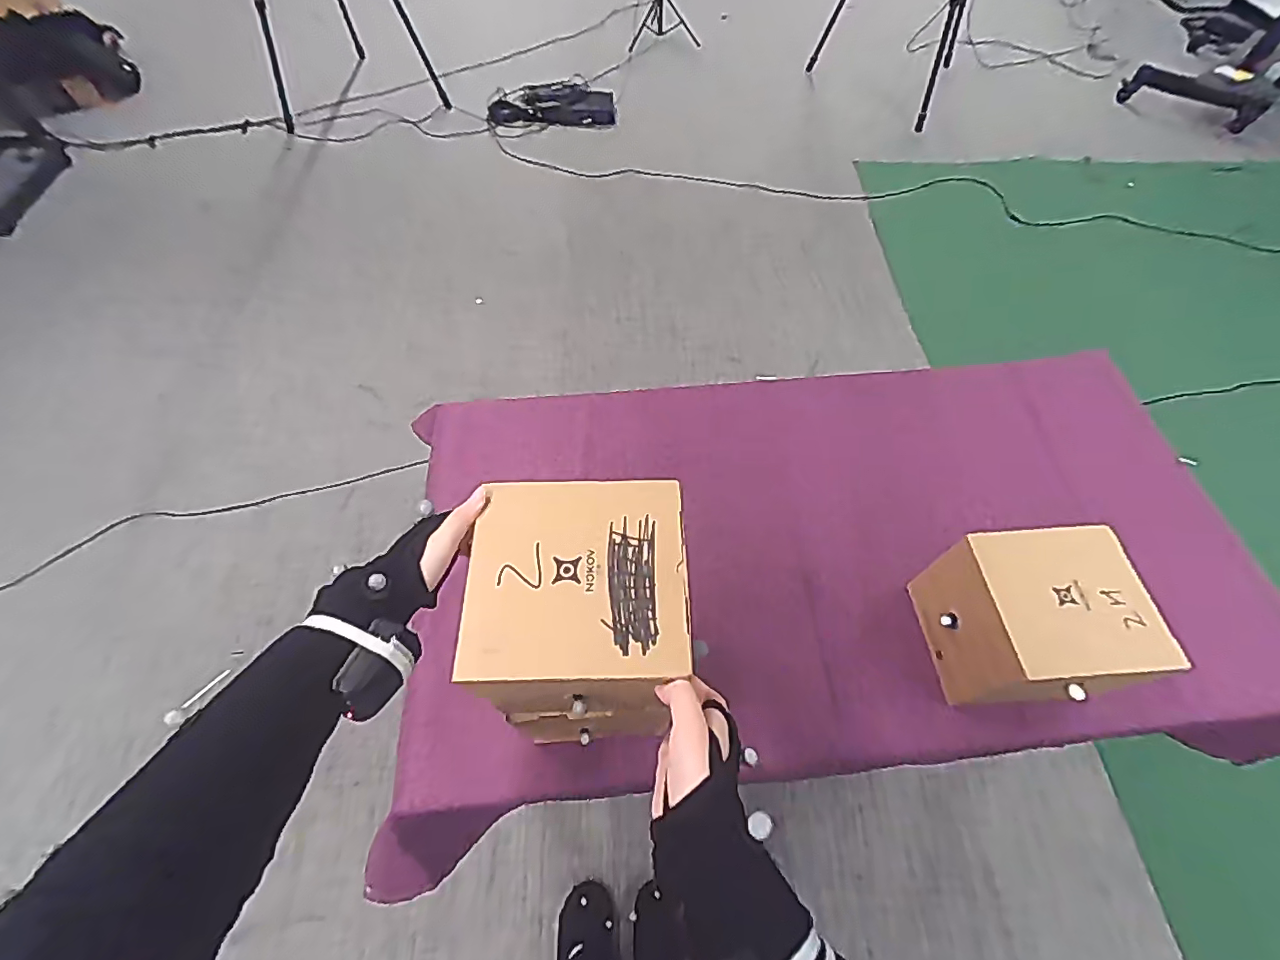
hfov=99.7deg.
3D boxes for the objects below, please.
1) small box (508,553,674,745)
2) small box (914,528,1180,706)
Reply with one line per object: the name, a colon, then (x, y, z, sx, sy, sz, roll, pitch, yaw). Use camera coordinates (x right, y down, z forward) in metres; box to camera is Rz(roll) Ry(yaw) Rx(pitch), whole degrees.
small box: (-0.055, 0.203, 0.638, 0.168, 0.176, 0.179, -3, 59, -3)
small box: (0.465, 0.173, 0.661, 0.179, 0.176, 0.168, -3, 59, -3)
